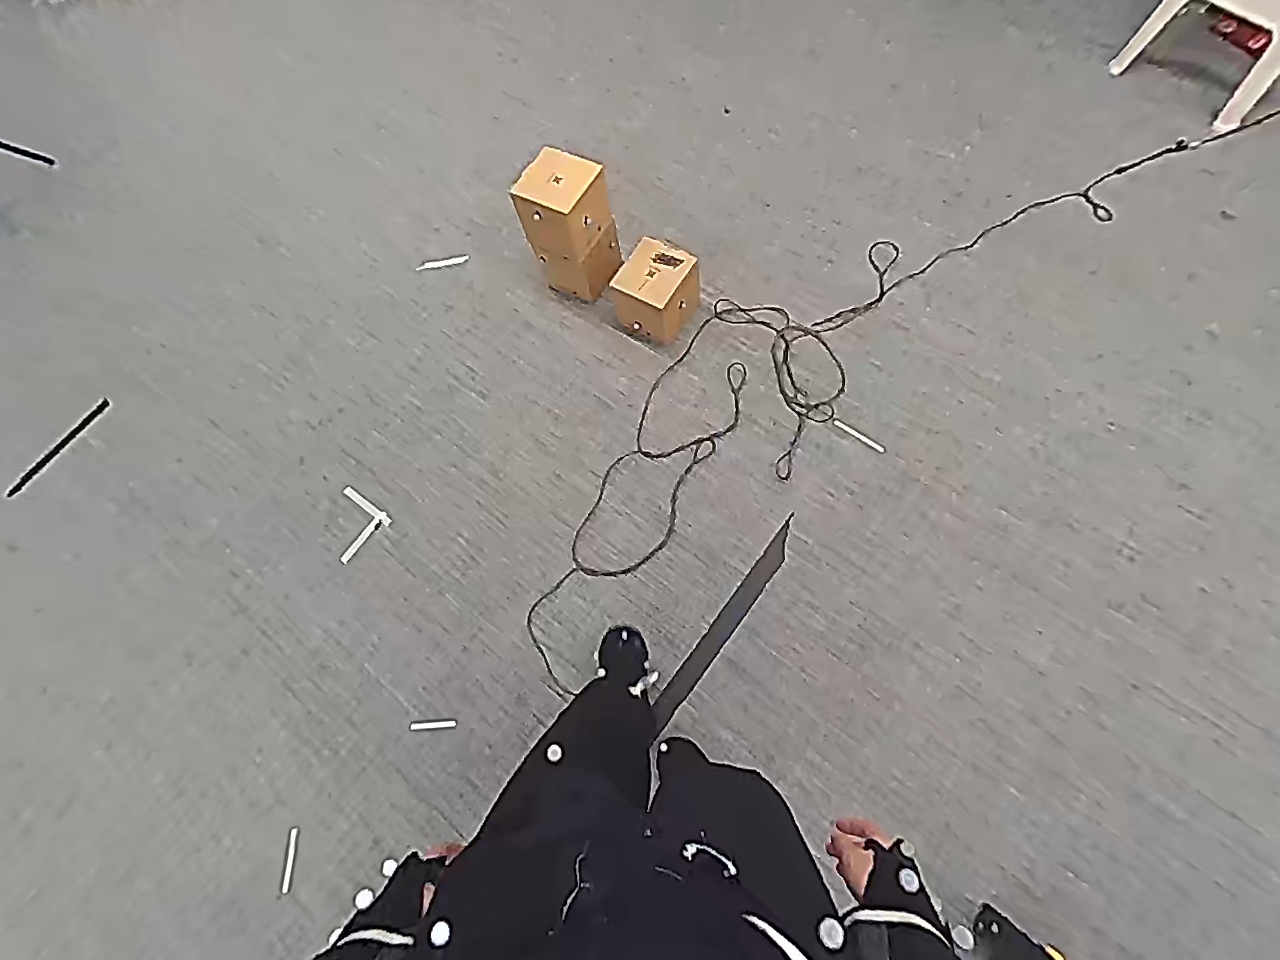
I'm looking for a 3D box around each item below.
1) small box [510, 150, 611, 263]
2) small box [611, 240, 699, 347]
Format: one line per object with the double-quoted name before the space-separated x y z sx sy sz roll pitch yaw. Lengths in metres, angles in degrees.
"small box" -0.193 -0.686 1.373 0.179 0.176 0.168 27 75 16
"small box" 0.045 -0.493 1.446 0.168 0.176 0.179 30 77 17
